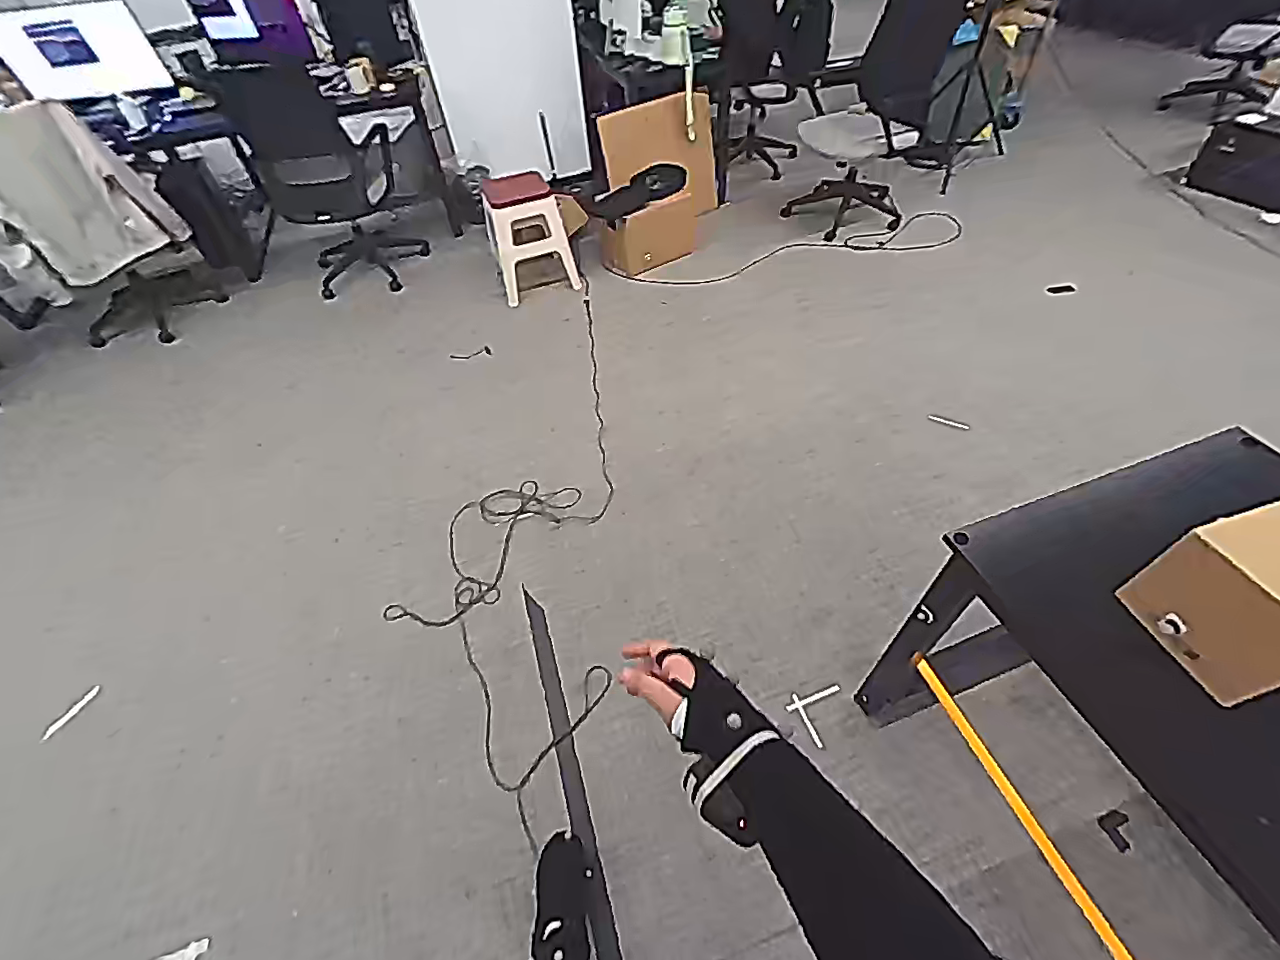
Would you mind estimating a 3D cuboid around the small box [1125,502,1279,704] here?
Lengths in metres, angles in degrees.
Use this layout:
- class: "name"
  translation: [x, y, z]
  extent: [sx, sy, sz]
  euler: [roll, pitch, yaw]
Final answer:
- class: "small box"
  translation: [0.772, 0.147, 0.665]
  extent: [0.179, 0.176, 0.168]
  euler: [-16, 49, -7]
